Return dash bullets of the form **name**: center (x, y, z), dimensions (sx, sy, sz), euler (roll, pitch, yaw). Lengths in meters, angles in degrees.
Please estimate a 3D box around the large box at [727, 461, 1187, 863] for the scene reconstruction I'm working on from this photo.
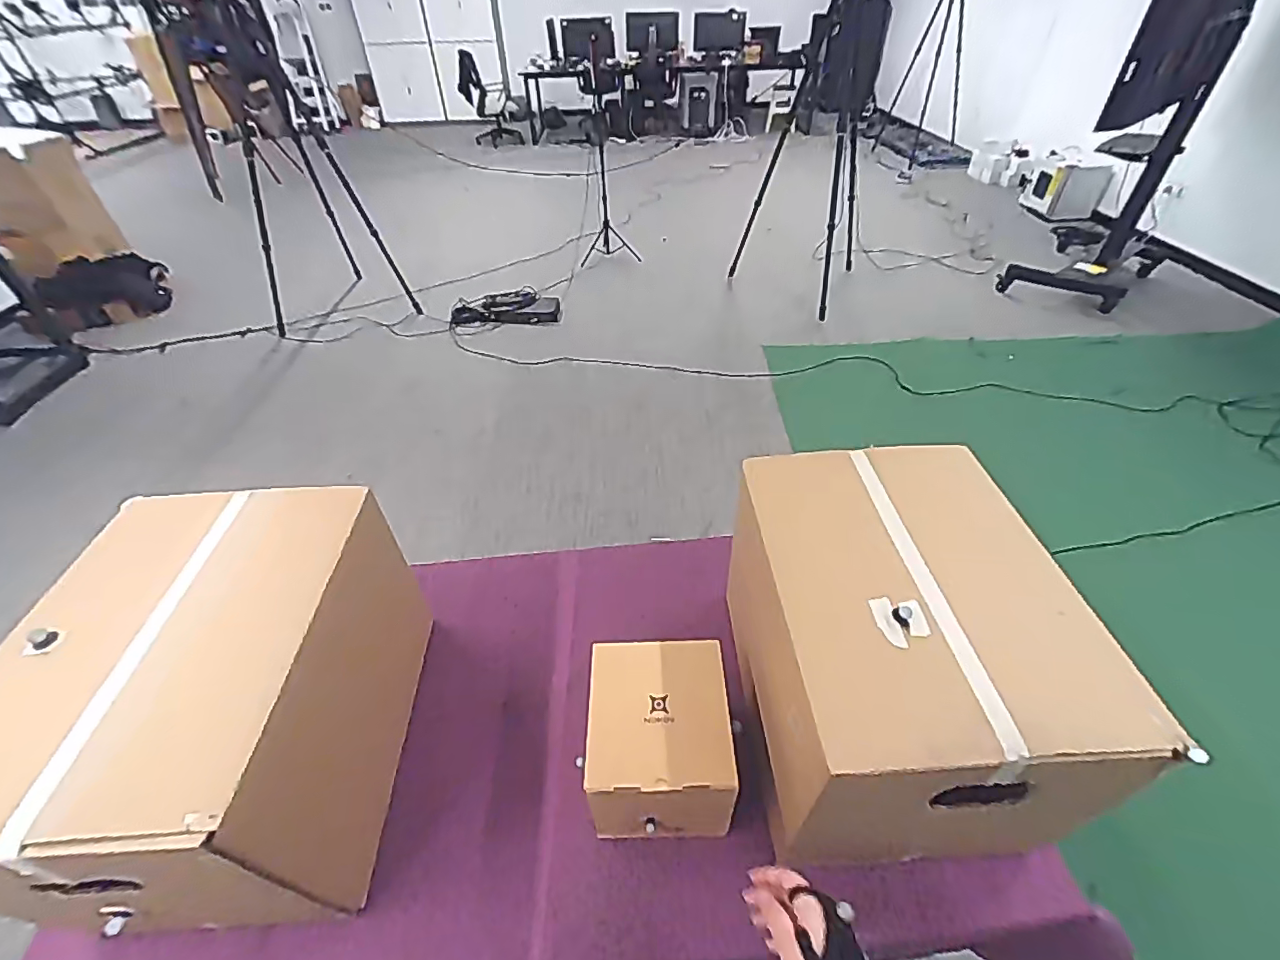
- **large box**: center (0.311, 0.220, 0.705), dimensions (0.320, 0.320, 0.408), euler (-2, 43, -1)
